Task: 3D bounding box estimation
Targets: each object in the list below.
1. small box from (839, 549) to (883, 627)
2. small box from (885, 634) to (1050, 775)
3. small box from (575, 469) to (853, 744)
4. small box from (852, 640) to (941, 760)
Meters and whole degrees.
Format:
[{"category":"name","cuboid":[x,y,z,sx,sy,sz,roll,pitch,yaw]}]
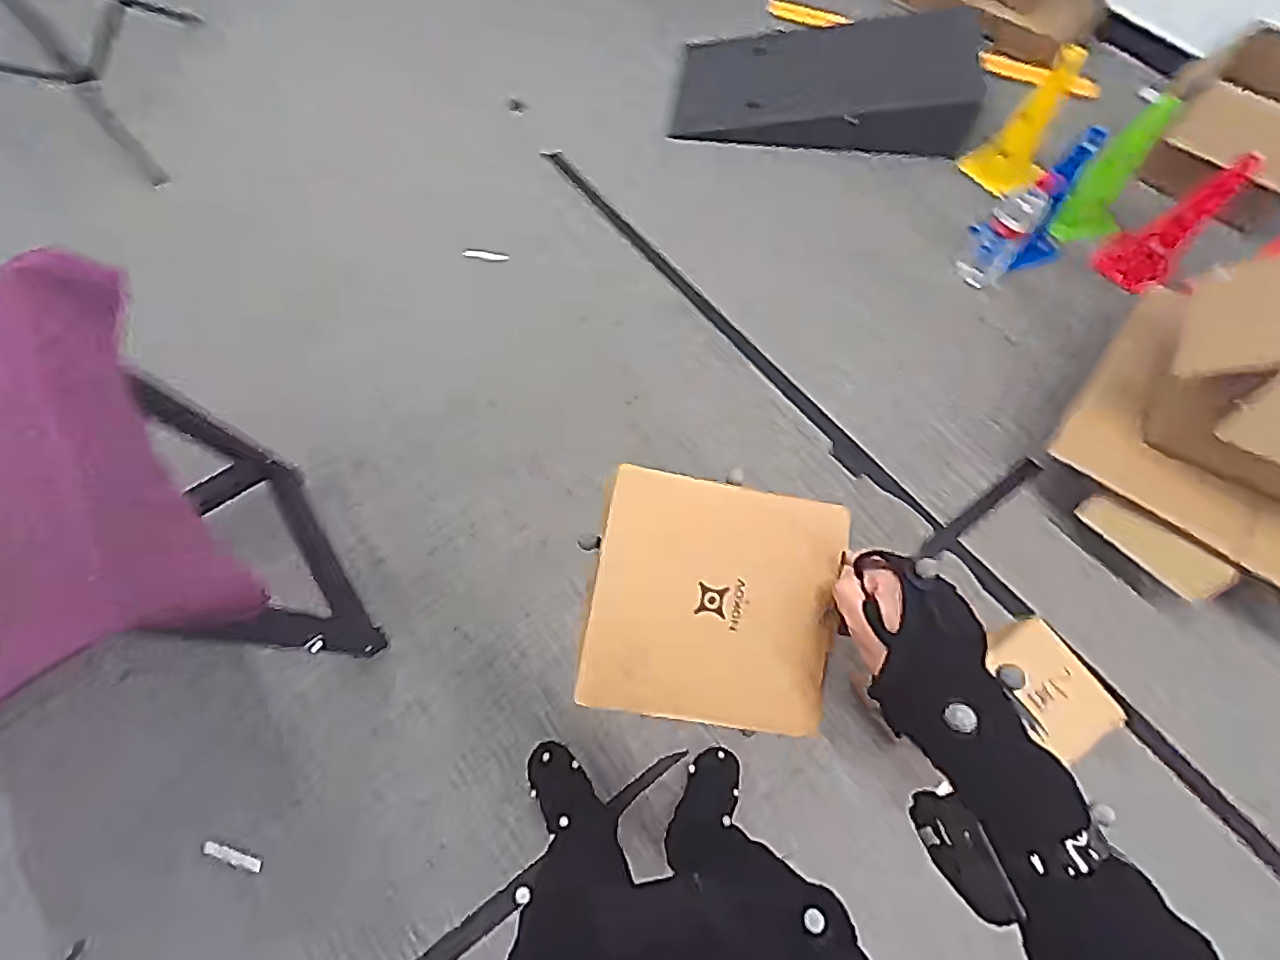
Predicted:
[{"category":"small box","cuboid":[0.411,0.250,1.242,0.179,0.176,0.168,-36,74,-12]},{"category":"small box","cuboid":[0.585,0.409,1.001,0.179,0.176,0.168,-31,72,-10]},{"category":"small box","cuboid":[0.044,0.092,0.447,0.179,0.176,0.168,10,85,-8]},{"category":"small box","cuboid":[0.593,0.462,1.157,0.168,0.176,0.179,-30,72,-9]}]
